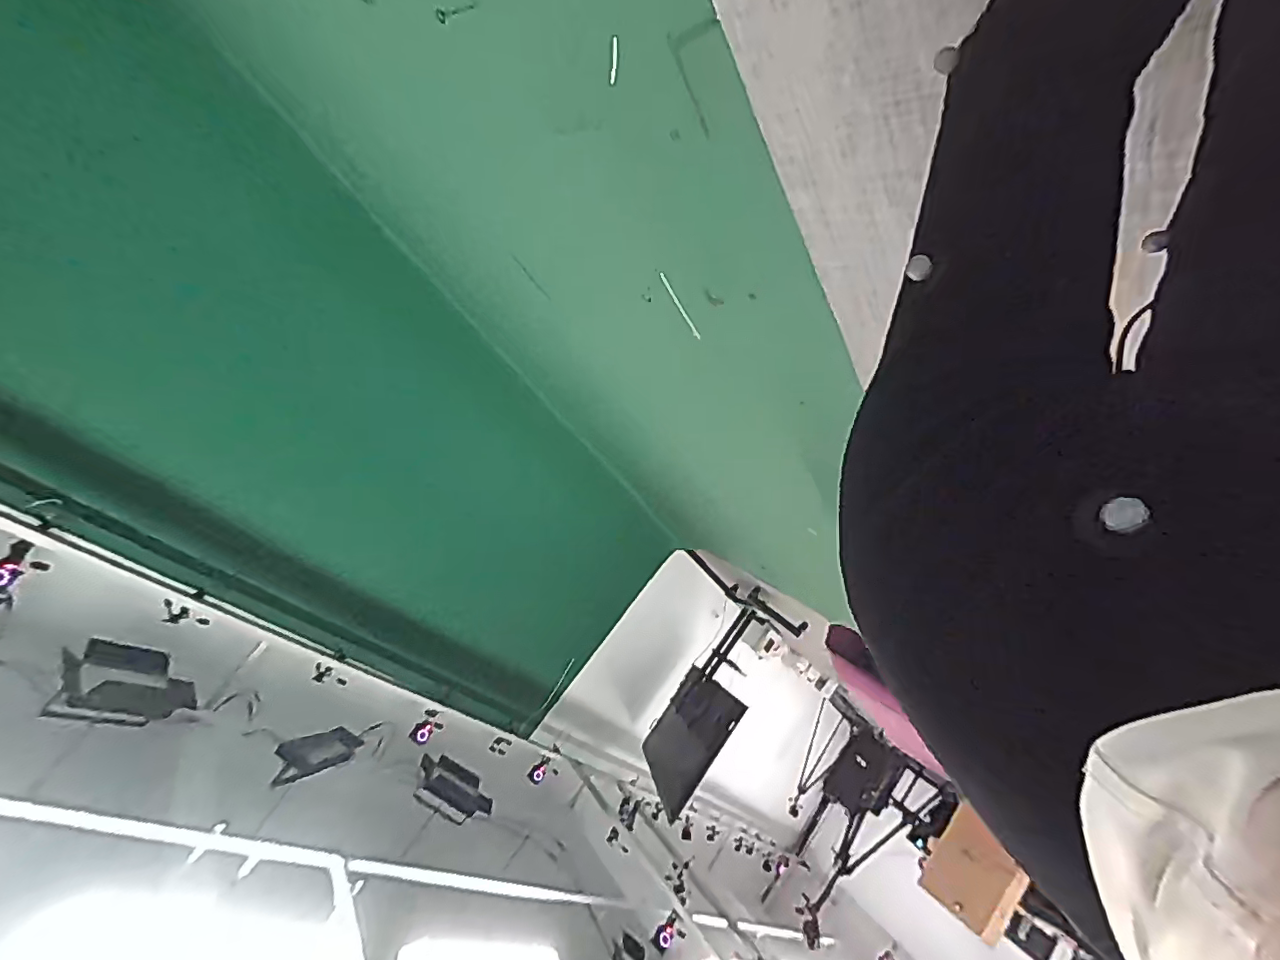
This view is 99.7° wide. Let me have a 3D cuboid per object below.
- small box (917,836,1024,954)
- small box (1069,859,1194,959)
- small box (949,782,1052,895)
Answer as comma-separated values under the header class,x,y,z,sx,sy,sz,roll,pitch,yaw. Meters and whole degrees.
class,x,y,z,sx,sy,sz,roll,pitch,yaw
small box,0.859,1.070,1.399,0.179,0.176,0.168,46,166,-34
small box,1.115,1.010,1.228,0.168,0.176,0.179,23,160,52
small box,0.959,0.944,1.432,0.168,0.176,0.179,22,159,53
